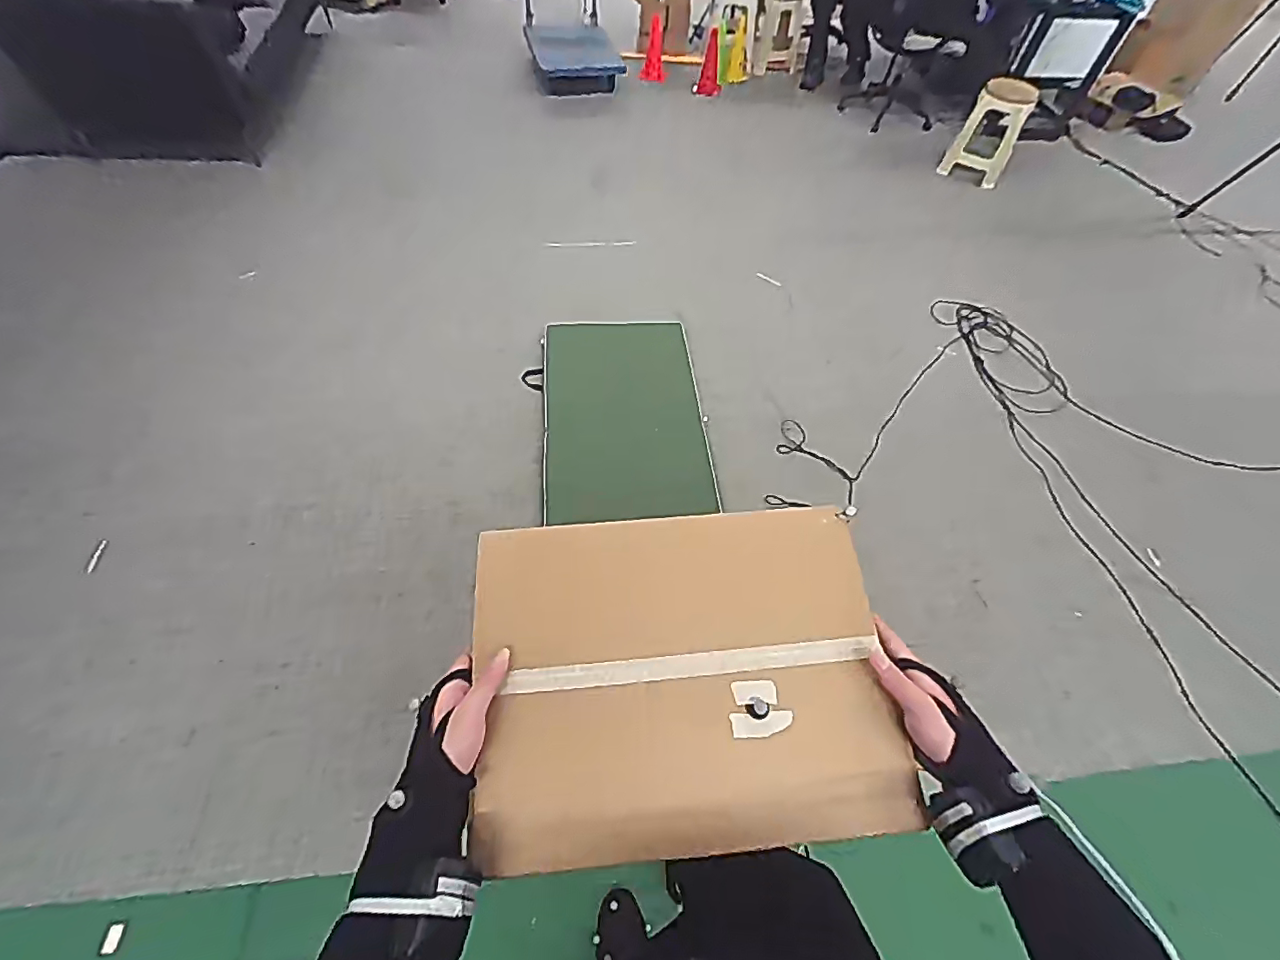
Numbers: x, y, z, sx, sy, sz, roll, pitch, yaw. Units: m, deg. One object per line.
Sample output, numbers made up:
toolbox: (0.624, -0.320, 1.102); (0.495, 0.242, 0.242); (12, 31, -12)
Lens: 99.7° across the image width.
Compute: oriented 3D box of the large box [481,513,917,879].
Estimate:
large box: (0.037, 0.258, 0.676); (0.408, 0.320, 0.320); (-4, 64, -4)
